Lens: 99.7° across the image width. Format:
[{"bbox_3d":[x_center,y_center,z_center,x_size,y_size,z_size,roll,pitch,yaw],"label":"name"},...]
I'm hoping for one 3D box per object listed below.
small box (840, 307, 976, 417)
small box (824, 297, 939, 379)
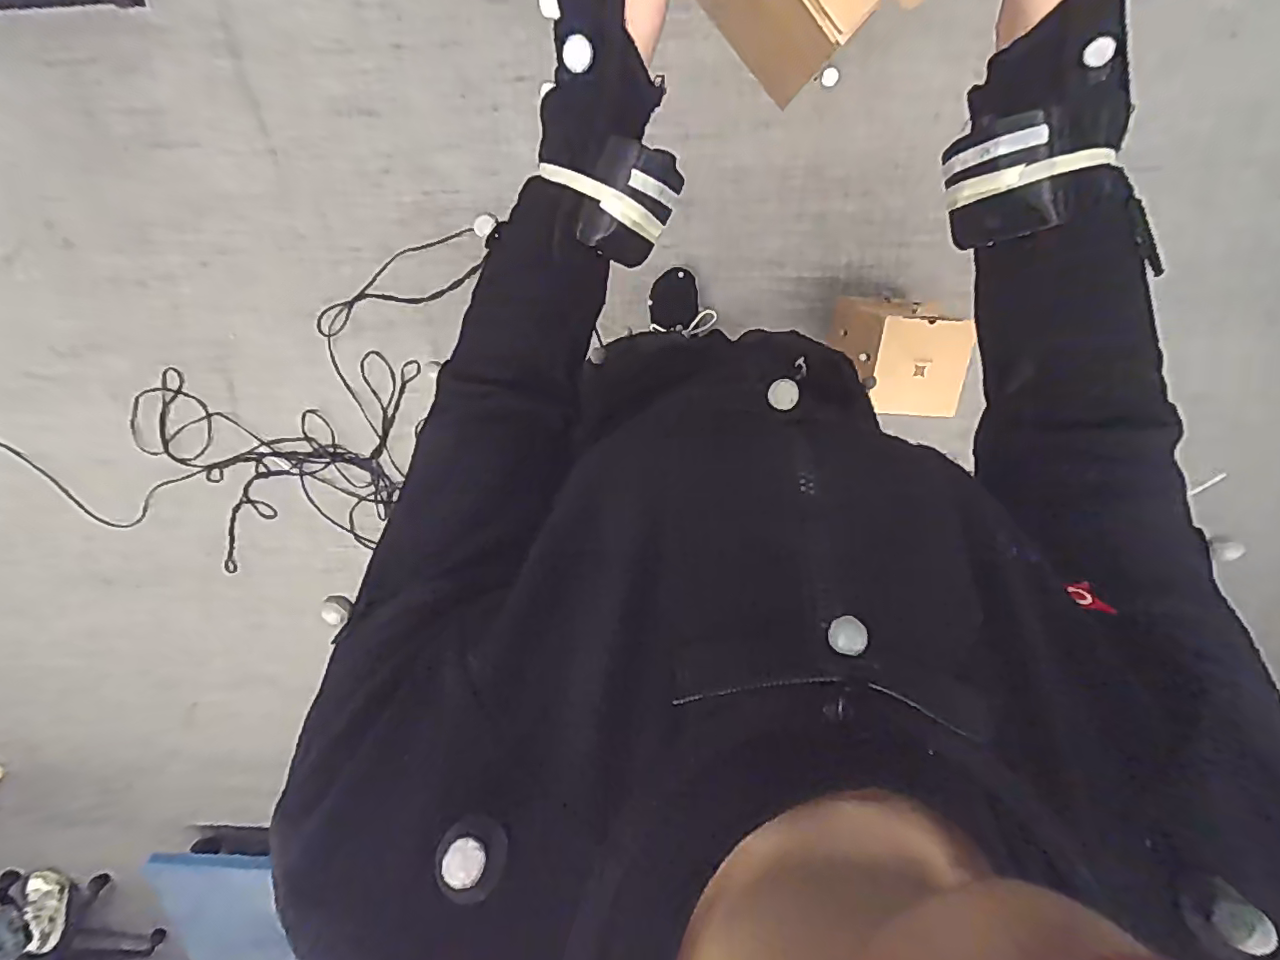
[{"bbox_3d":[0.501,-0.232,1.044,0.168,0.176,0.179,3,112,1],"label":"small box"},{"bbox_3d":[0.519,-0.306,1.189,0.168,0.176,0.179,3,111,1],"label":"small box"}]
